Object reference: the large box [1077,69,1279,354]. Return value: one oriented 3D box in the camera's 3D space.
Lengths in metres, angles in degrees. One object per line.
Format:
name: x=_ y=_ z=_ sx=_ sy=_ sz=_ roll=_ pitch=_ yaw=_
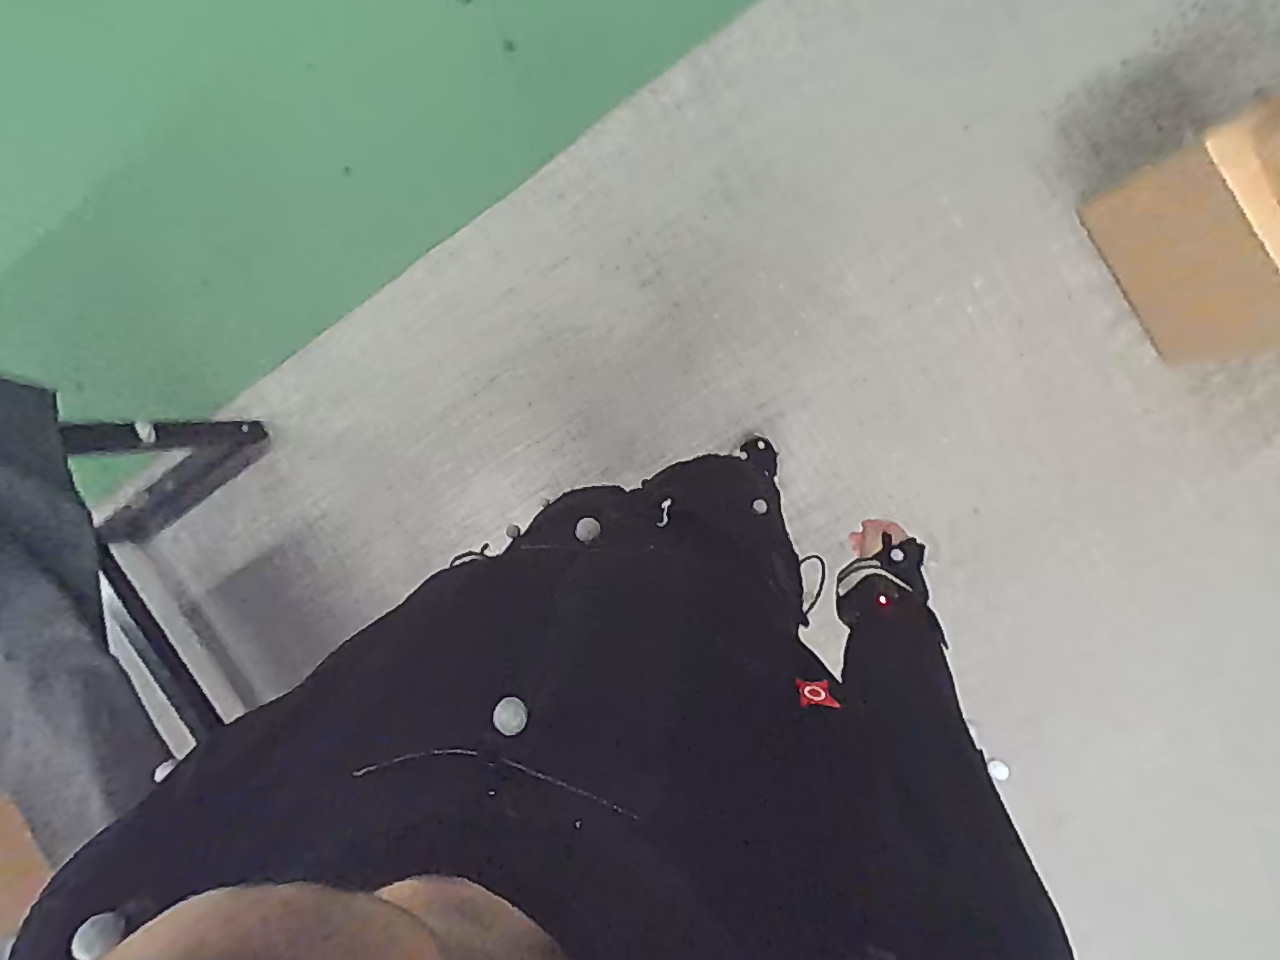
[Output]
large box: x=1.151 y=-0.497 z=1.002 sx=0.320 sy=0.320 sz=0.408 roll=-33 pitch=93 yaw=10
